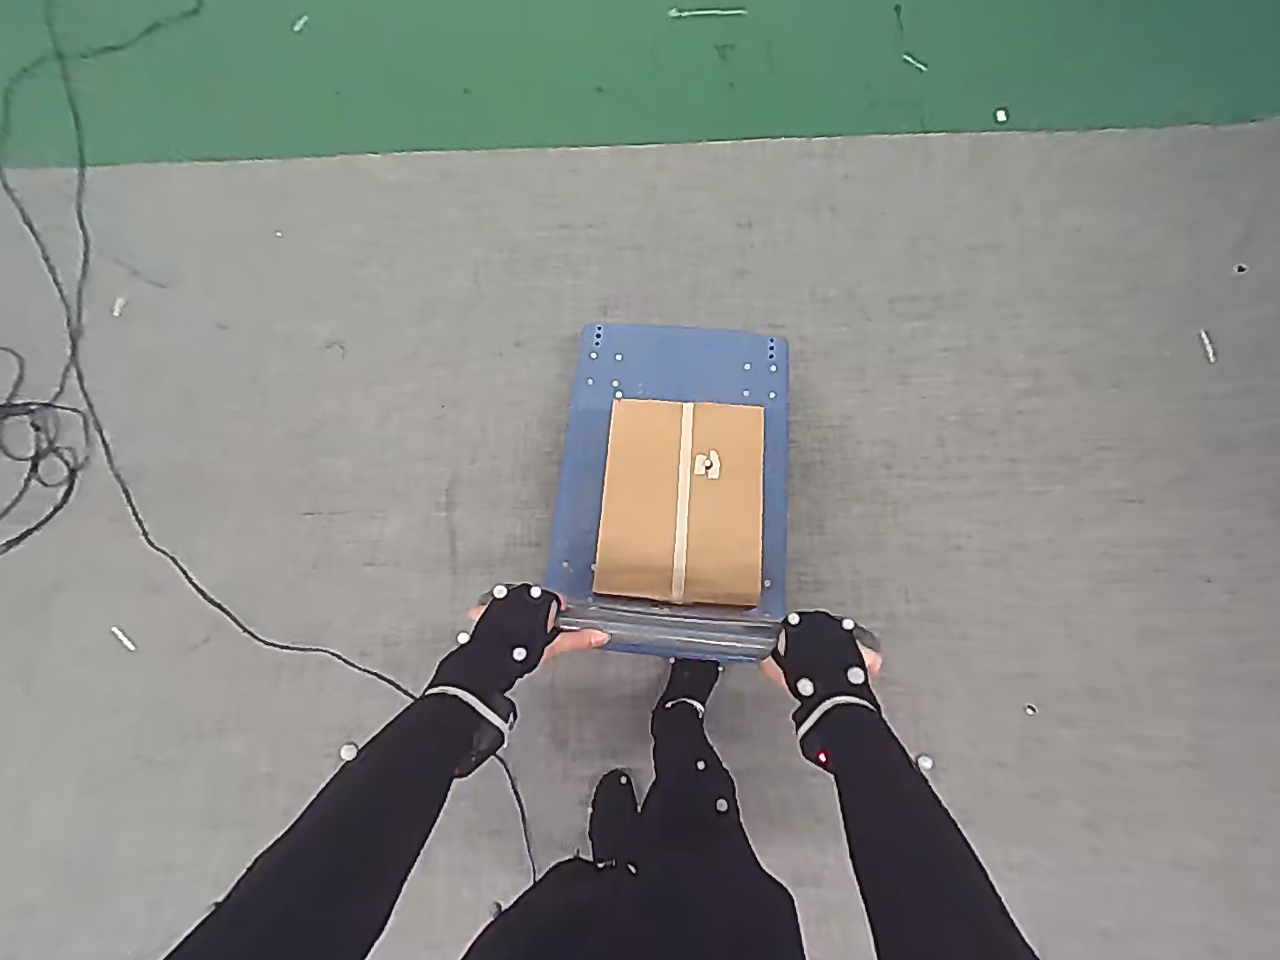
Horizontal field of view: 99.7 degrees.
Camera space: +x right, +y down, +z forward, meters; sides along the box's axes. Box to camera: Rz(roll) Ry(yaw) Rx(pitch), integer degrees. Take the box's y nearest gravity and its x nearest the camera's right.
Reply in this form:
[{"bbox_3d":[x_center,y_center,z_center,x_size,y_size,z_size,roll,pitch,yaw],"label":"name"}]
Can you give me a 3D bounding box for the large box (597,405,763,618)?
[{"bbox_3d":[0.091,0.085,1.203,0.320,0.320,0.408,4,72,2],"label":"large box"}]
